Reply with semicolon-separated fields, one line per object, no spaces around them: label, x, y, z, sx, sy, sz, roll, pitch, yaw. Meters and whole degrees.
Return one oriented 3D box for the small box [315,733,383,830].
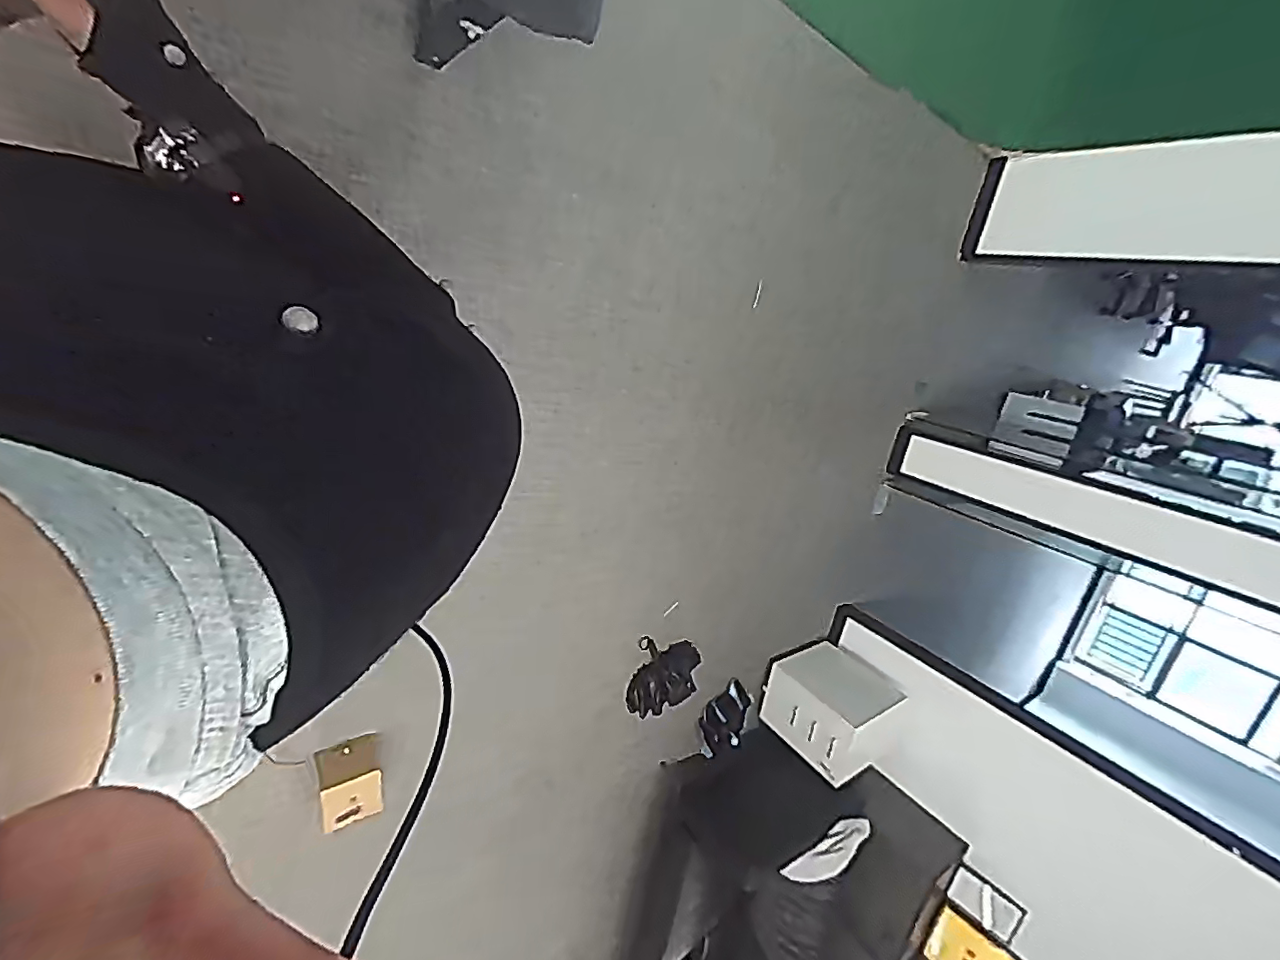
small box;-0.929;0.953;1.723;0.168;0.176;0.179;-8;114;-36
